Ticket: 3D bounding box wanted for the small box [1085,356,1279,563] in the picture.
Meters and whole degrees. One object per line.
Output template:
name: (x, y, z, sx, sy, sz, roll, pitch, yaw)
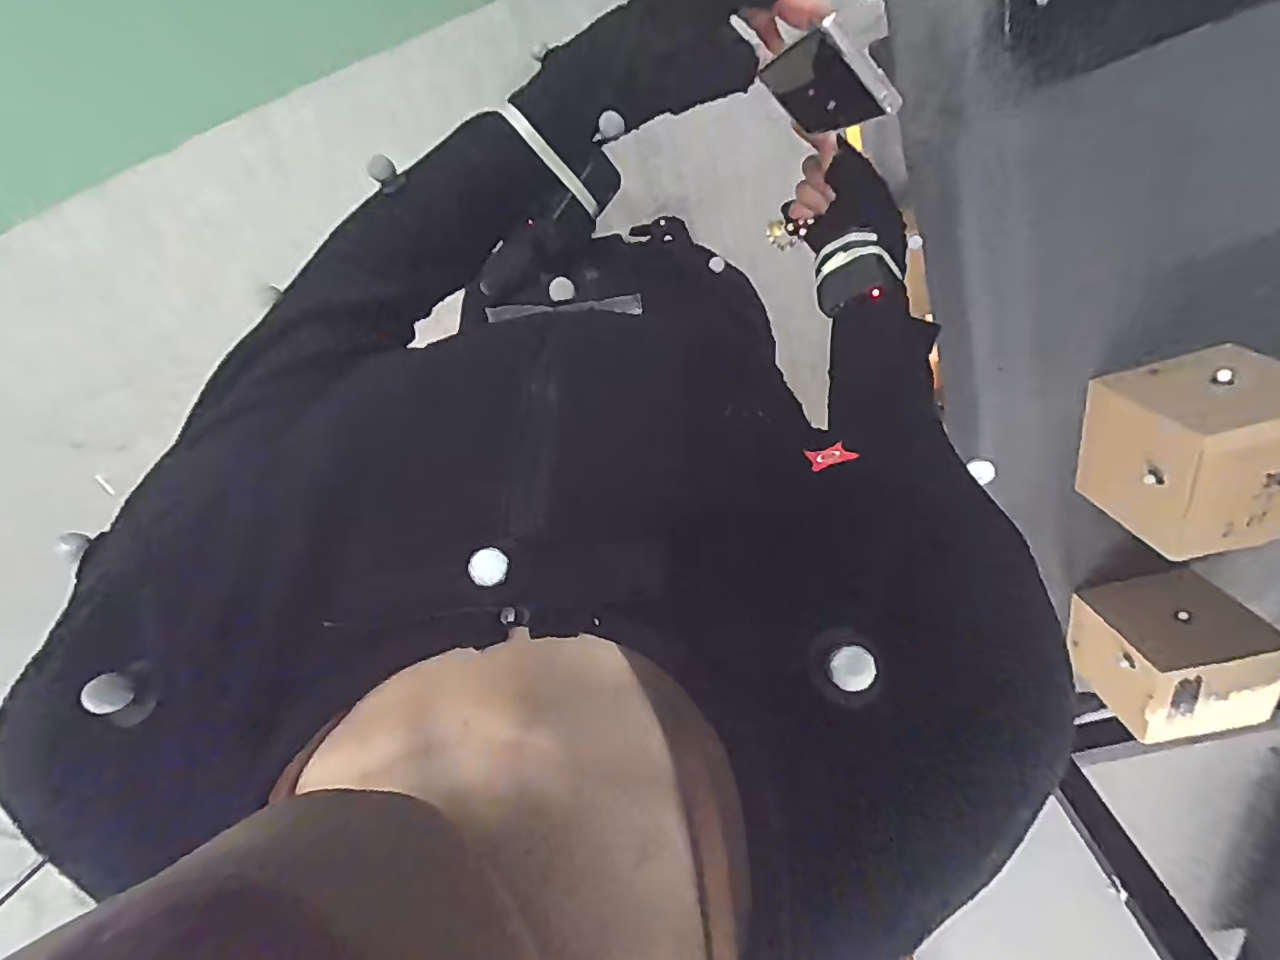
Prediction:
small box: (0.678, -0.034, 0.642, 0.168, 0.176, 0.179, -14, 119, 8)
